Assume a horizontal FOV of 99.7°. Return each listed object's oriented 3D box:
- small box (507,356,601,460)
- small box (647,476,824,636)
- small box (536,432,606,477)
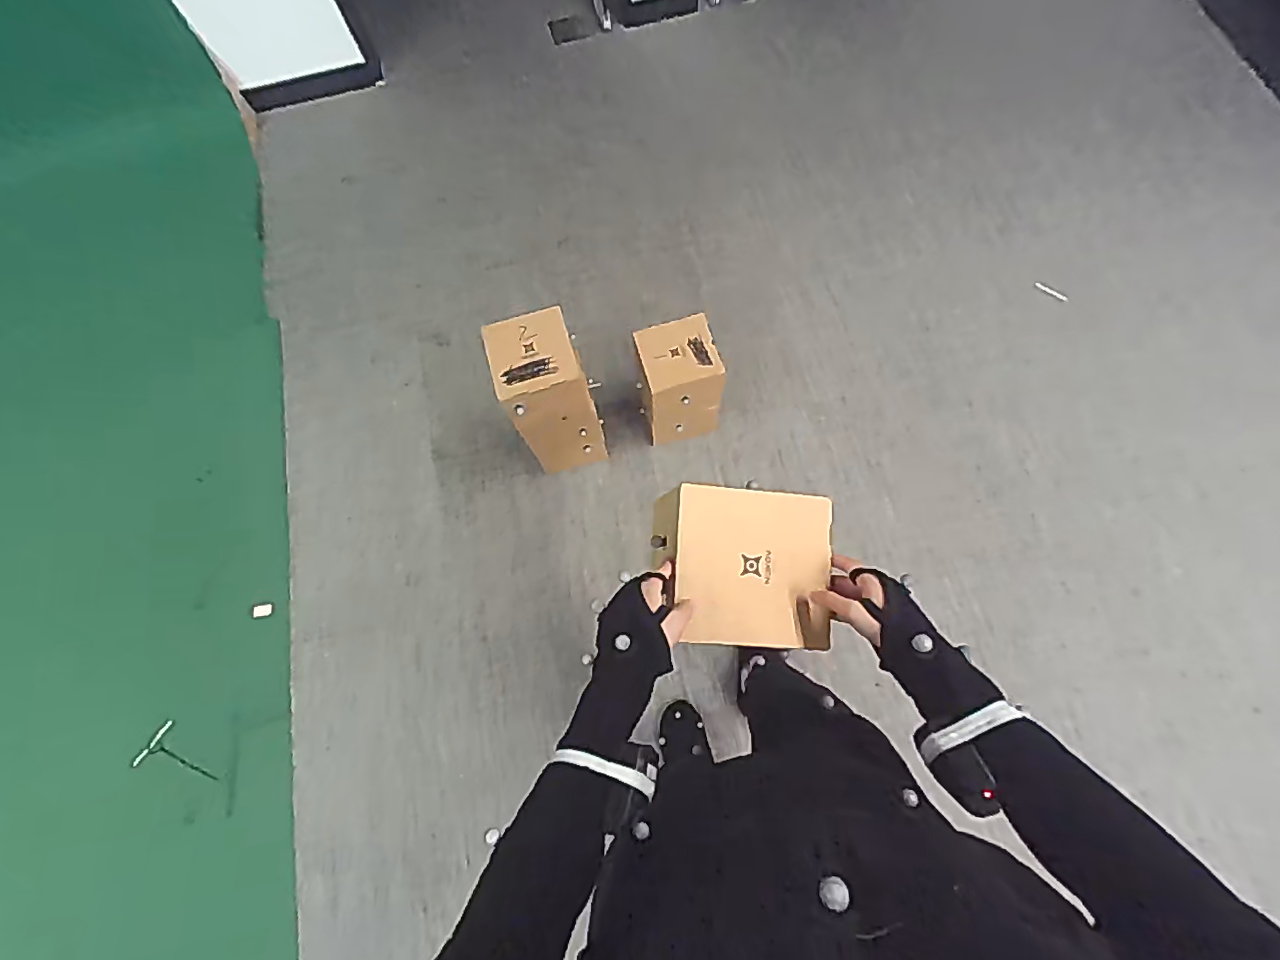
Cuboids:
[{"bbox_3d":[-0.199,-0.168,1.307,0.179,0.176,0.168,-18,72,-2],"label":"small box"},{"bbox_3d":[0.107,0.097,0.667,0.179,0.176,0.168,5,79,-8],"label":"small box"},{"bbox_3d":[-0.196,-0.127,1.465,0.179,0.176,0.168,-18,72,-2],"label":"small box"}]
